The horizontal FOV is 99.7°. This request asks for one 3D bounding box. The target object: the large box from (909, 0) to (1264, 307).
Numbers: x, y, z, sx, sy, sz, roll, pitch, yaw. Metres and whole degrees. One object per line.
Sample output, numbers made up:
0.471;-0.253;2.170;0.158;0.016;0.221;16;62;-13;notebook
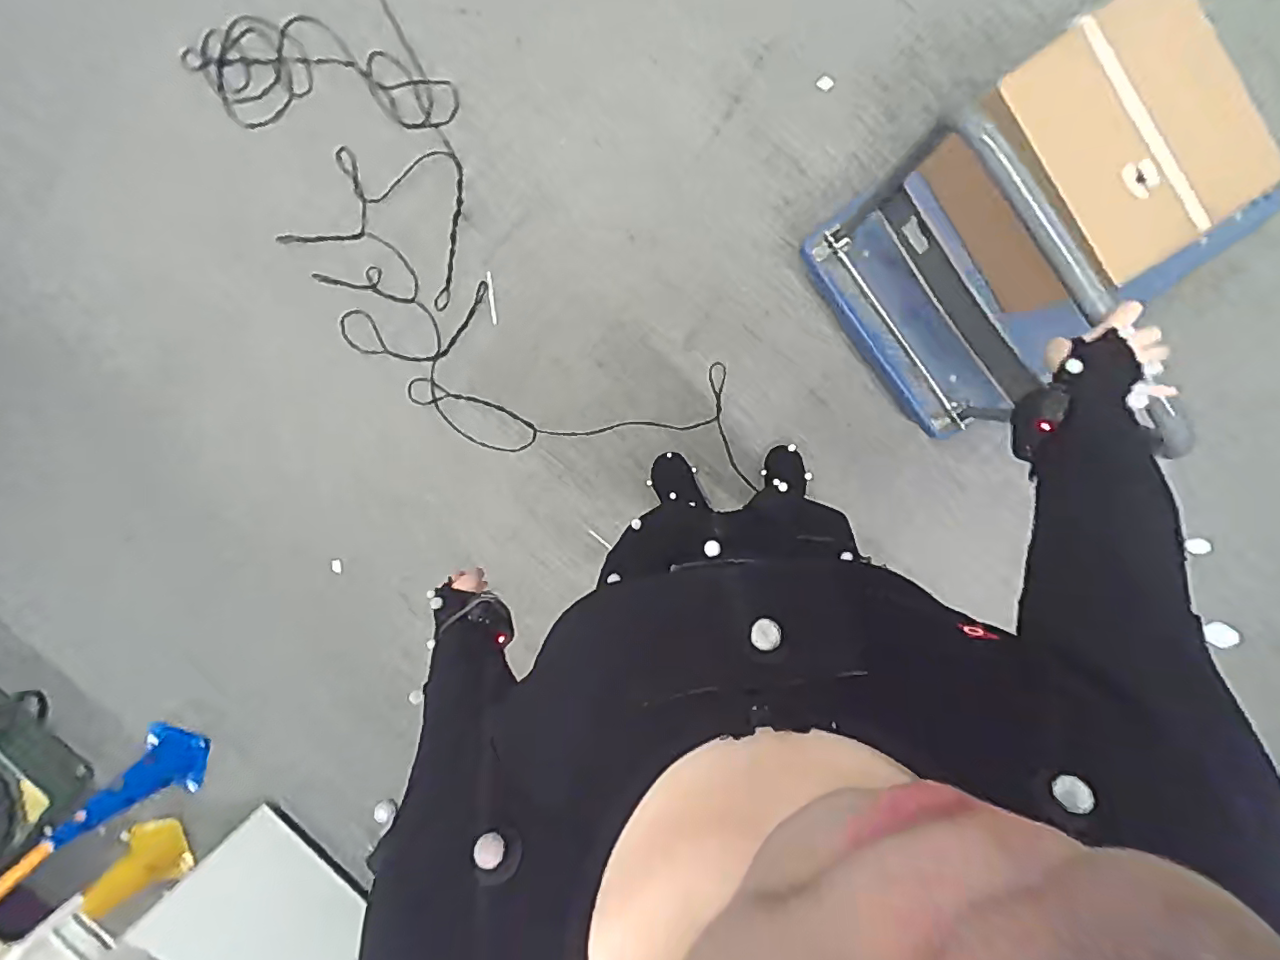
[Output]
0.824;-0.618;1.062;0.320;0.320;0.408;-34;95;8;large box
